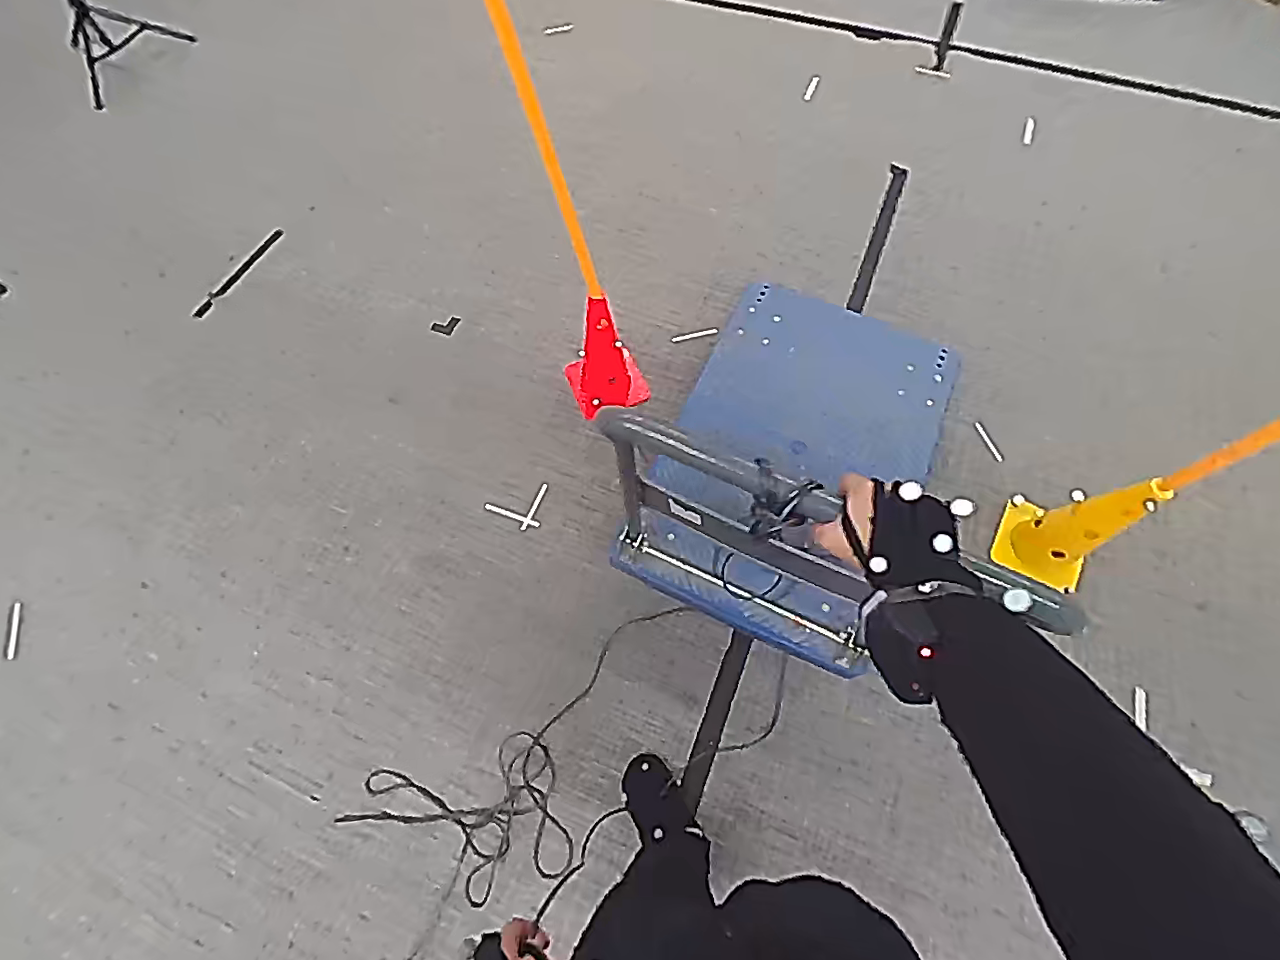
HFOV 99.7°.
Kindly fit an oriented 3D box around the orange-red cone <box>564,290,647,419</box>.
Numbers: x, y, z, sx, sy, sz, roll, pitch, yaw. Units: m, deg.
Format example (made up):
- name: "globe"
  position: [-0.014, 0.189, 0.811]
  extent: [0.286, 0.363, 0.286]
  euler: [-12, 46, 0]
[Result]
- name: "orange-red cone"
  position: [-0.099, -0.345, 1.382]
  extent: [0.199, 0.360, 0.198]
  euler: [-21, 68, -10]
